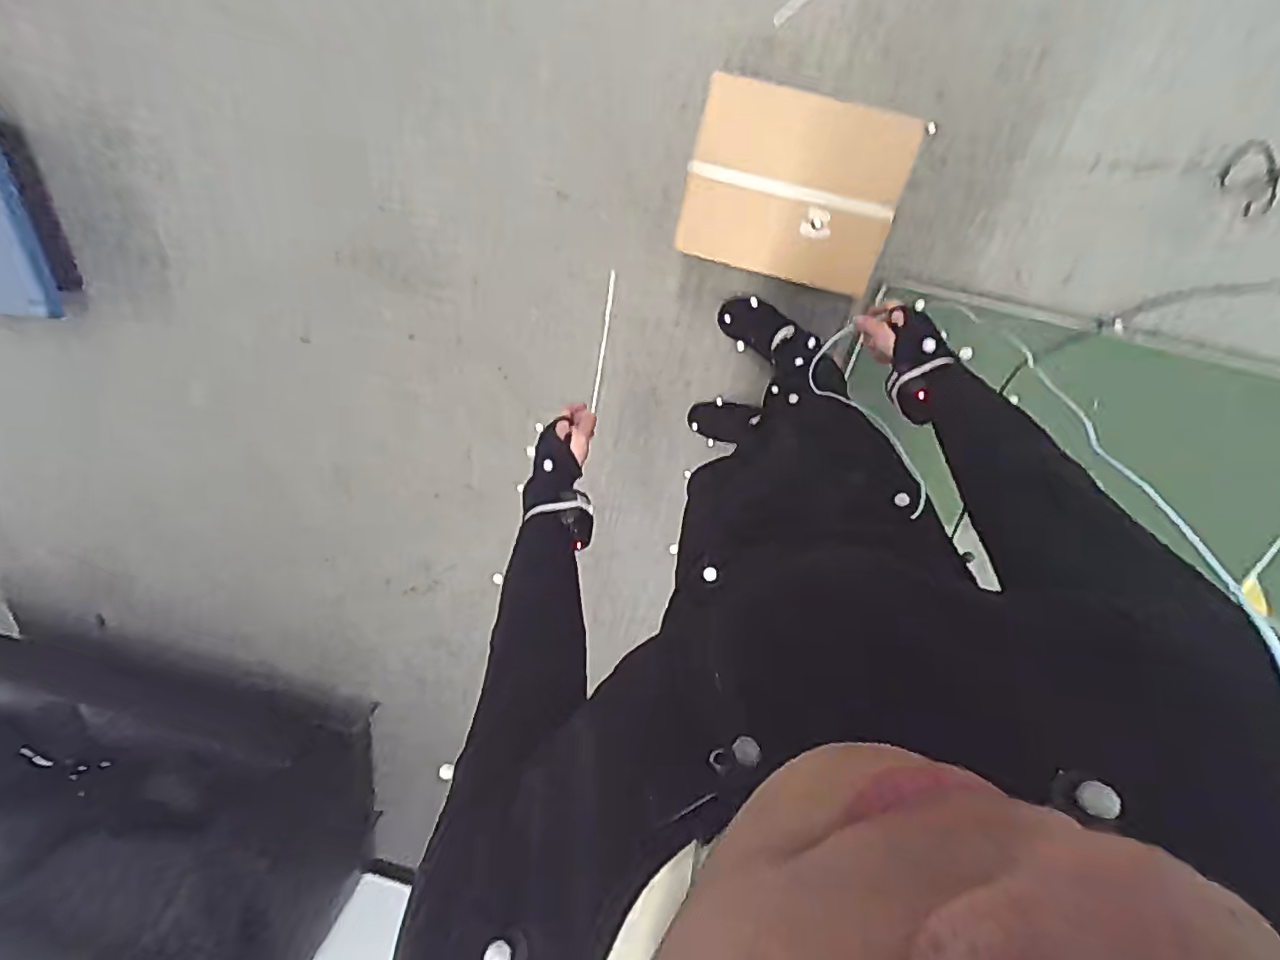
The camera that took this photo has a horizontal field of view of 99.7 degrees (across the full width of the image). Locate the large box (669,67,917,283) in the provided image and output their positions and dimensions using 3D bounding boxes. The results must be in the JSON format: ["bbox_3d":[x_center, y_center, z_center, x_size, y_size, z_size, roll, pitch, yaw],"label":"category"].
[{"bbox_3d":[0.295,-0.636,1.170,0.408,0.320,0.320,13,117,3],"label":"large box"}]
